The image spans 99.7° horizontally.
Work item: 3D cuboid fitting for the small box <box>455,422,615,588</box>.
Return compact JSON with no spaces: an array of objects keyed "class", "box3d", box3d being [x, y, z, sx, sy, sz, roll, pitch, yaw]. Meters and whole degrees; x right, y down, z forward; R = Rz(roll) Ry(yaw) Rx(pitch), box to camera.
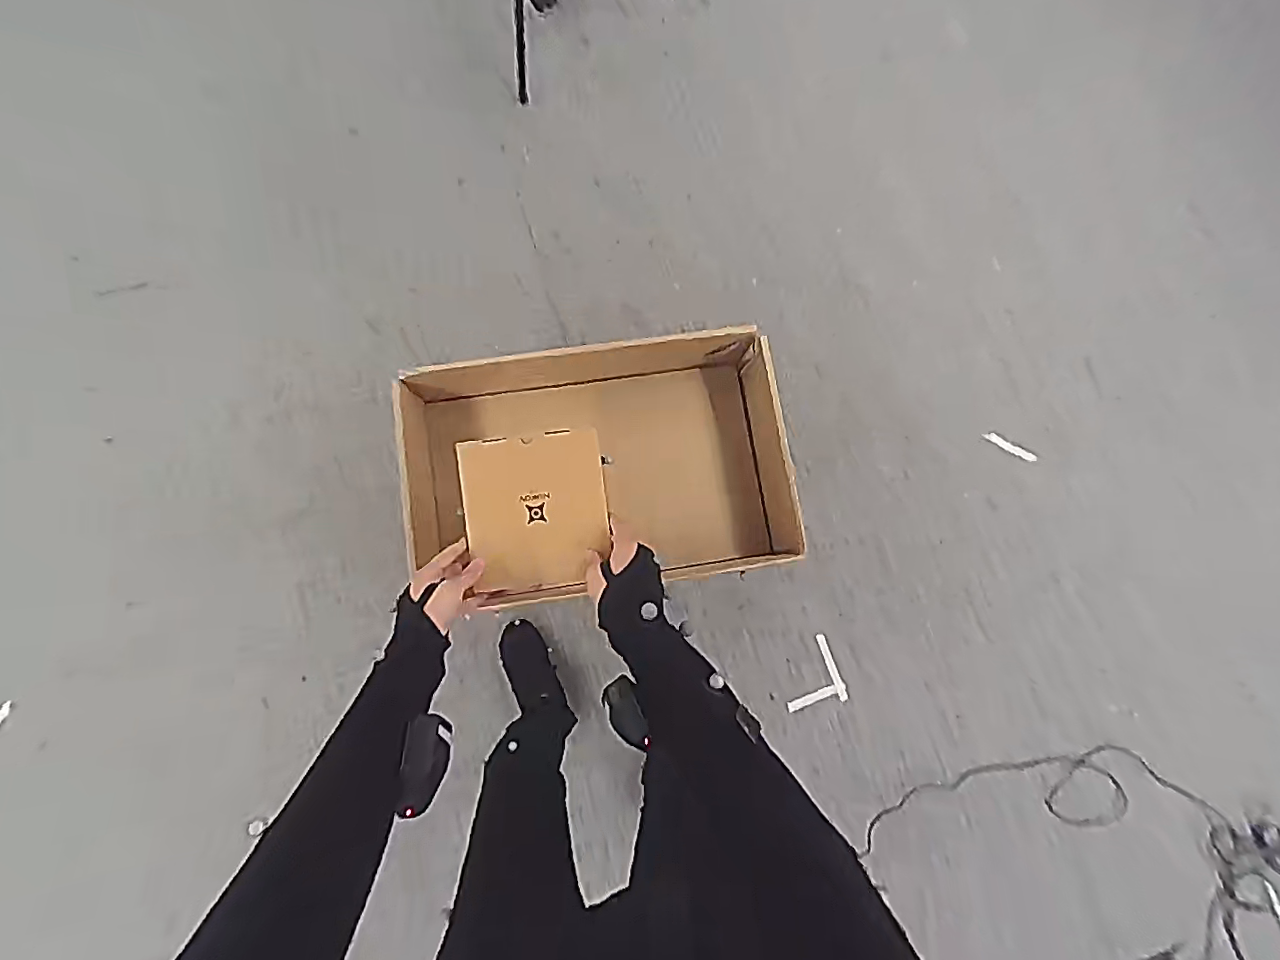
[{"class":"small box","box3d":[-0.125,0.030,0.703,0.168,0.176,0.179,-8,88,-2]}]
